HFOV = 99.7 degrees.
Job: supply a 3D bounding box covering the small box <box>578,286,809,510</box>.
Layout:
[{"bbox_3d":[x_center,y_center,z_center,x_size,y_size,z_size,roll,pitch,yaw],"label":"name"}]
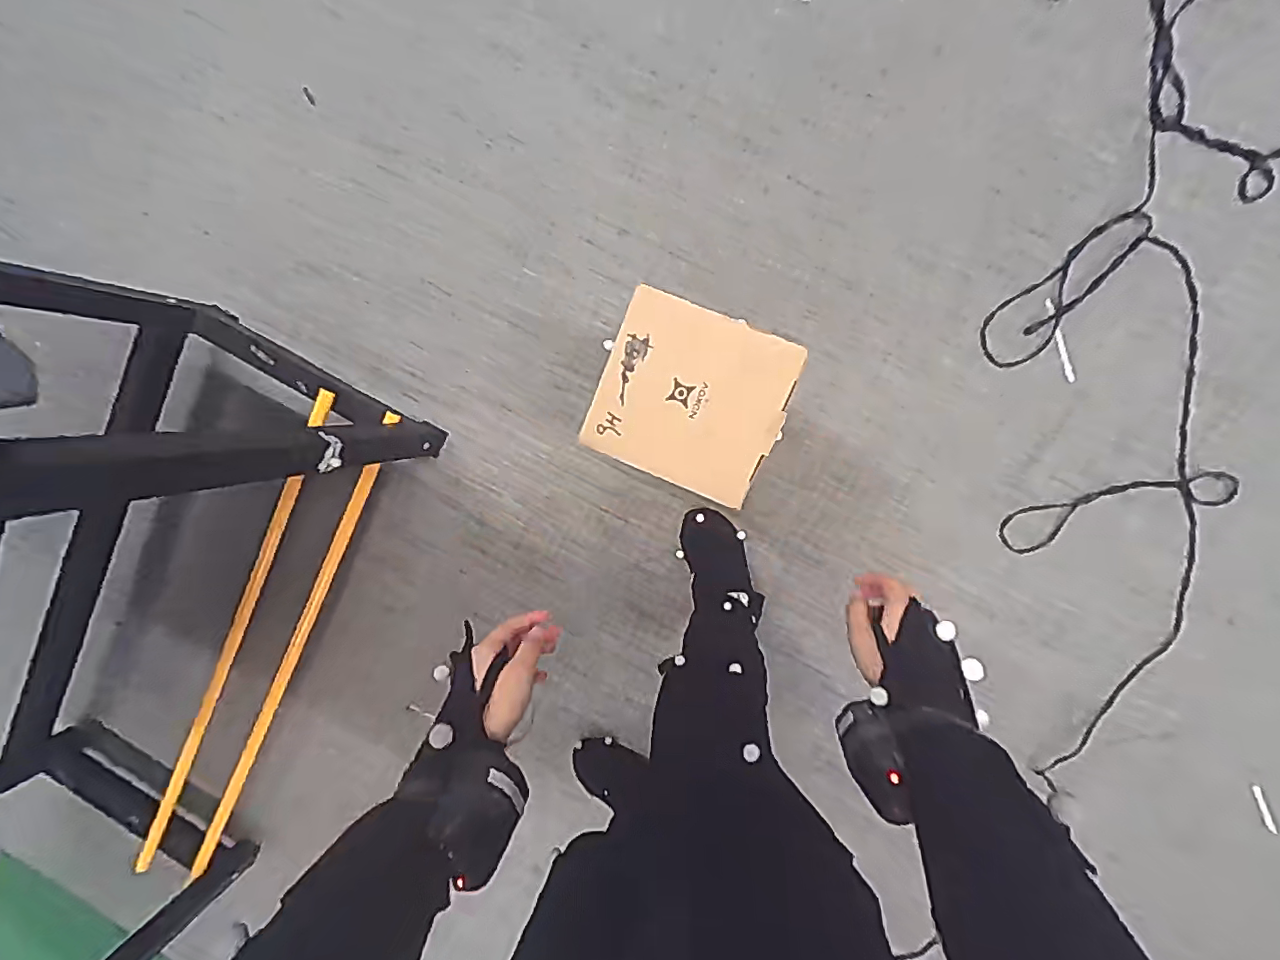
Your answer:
[{"bbox_3d":[0.058,-0.087,0.594,0.179,0.176,0.168,24,99,5],"label":"small box"}]
